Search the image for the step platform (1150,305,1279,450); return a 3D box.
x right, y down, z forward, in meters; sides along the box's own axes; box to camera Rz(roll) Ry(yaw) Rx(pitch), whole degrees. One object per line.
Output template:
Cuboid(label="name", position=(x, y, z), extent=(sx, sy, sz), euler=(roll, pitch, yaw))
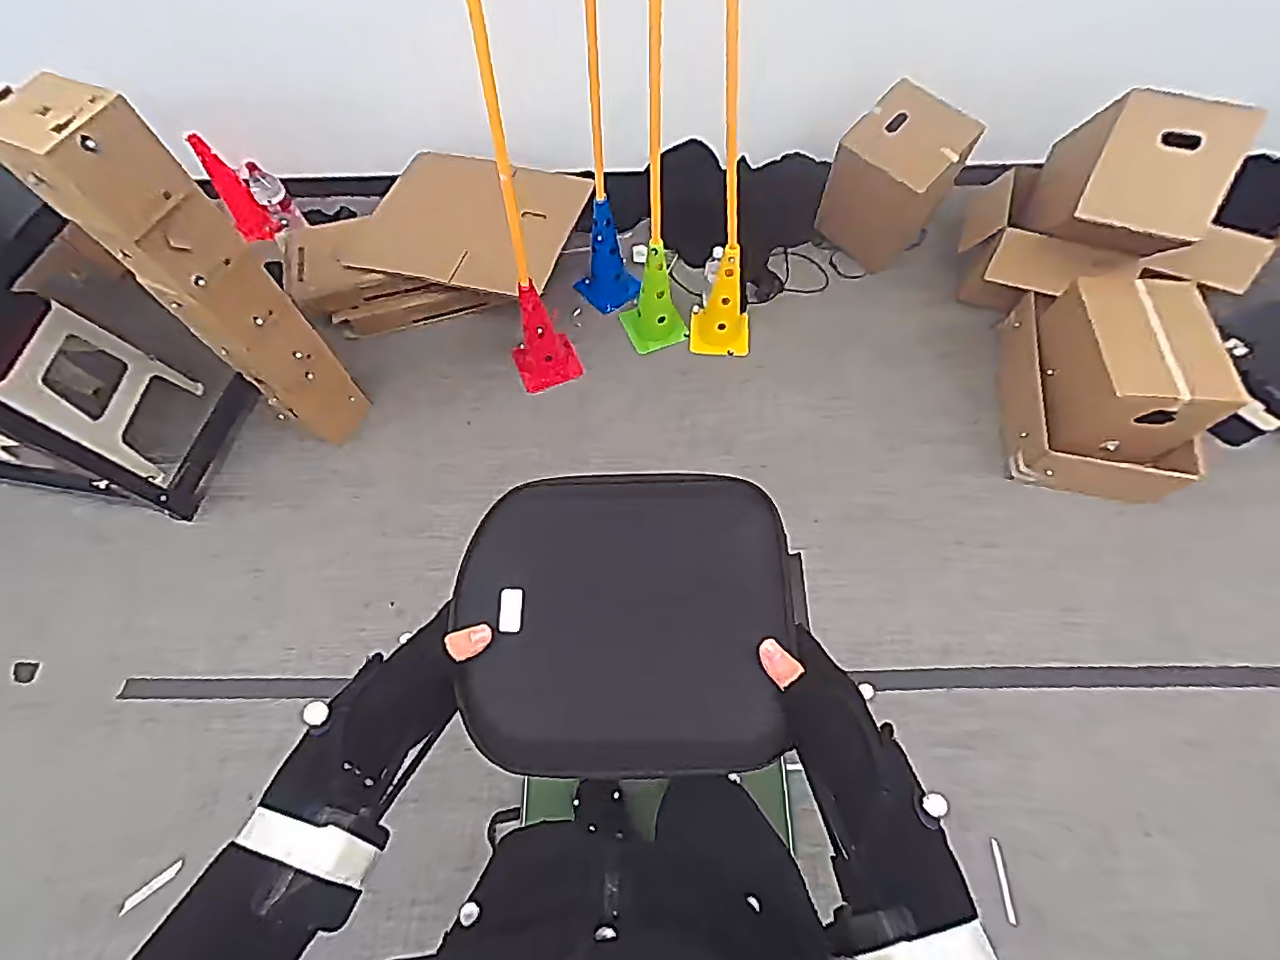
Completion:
Cuboid(label="step platform", position=(1.995, -0.367, 1.688), extent=(0.684, 0.204, 0.286), euler=(-27, 67, -11))
